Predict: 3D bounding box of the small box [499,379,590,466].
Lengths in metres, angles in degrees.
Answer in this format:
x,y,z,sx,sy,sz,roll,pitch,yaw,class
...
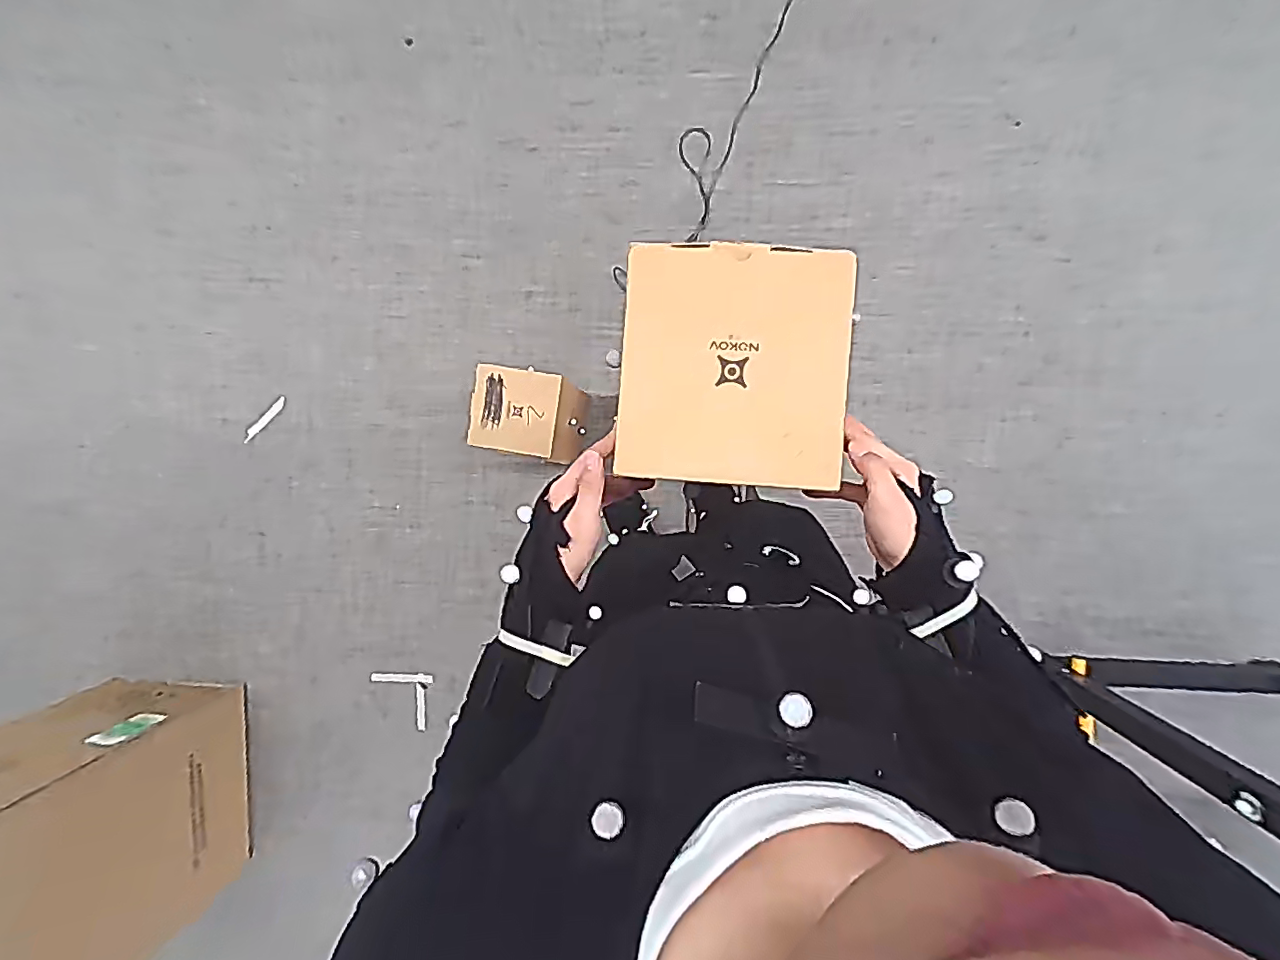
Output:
x,y,z,sx,sy,sz,roll,pitch,yaw,class
-0.221,-0.136,1.298,0.168,0.176,0.179,10,95,5,small box

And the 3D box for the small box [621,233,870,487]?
x,y,z,sx,sy,sz,roll,pitch,yaw,class
0.080,-0.086,0.463,0.168,0.176,0.179,4,89,4,small box
